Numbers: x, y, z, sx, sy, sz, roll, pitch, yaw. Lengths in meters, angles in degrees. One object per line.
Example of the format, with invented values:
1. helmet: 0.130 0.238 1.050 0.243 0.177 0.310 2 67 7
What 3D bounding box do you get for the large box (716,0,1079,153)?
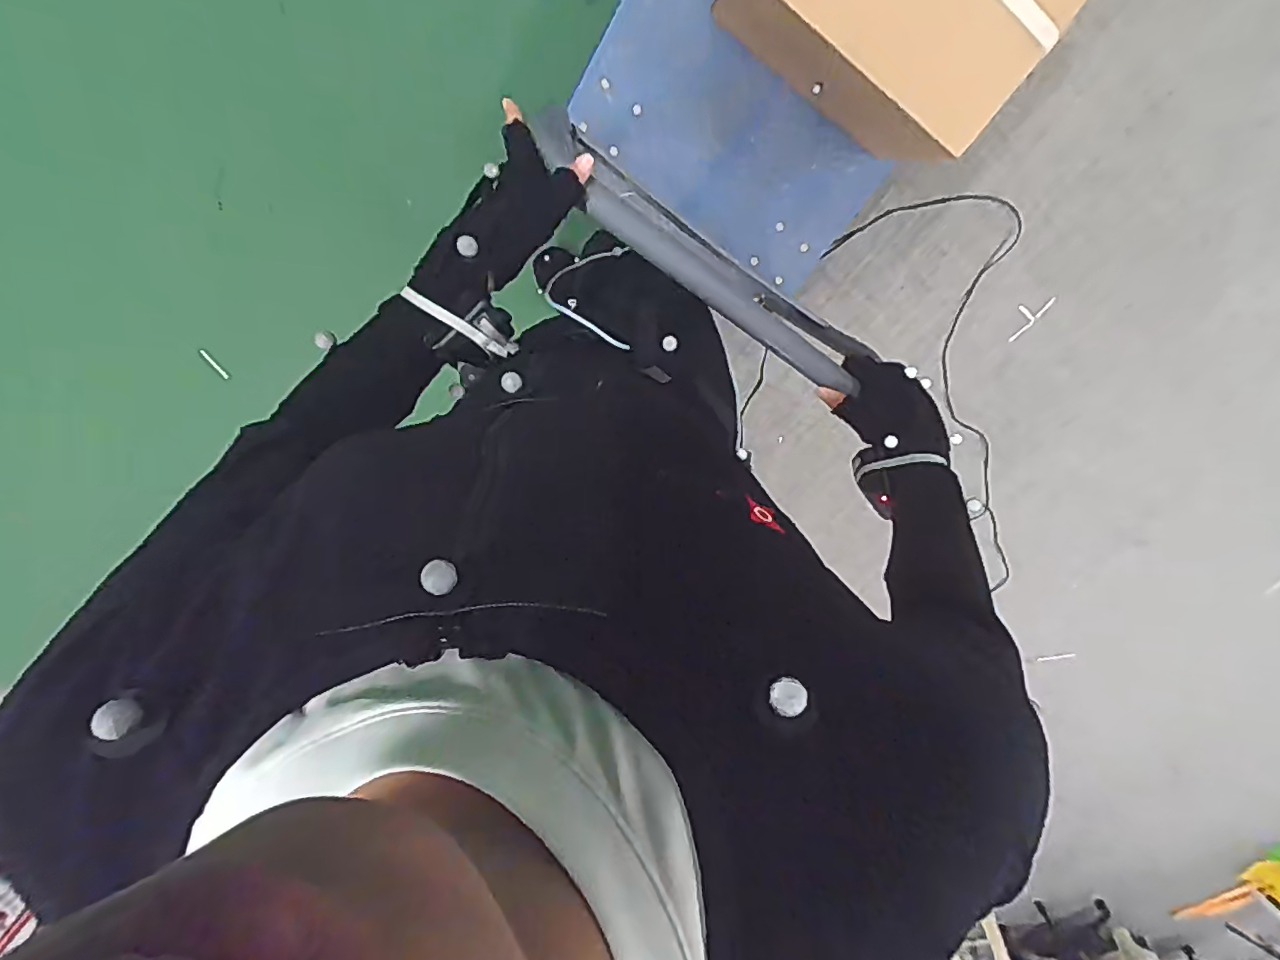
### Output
1. large box: 0.372 -0.746 0.790 0.408 0.320 0.320 29 117 -16
